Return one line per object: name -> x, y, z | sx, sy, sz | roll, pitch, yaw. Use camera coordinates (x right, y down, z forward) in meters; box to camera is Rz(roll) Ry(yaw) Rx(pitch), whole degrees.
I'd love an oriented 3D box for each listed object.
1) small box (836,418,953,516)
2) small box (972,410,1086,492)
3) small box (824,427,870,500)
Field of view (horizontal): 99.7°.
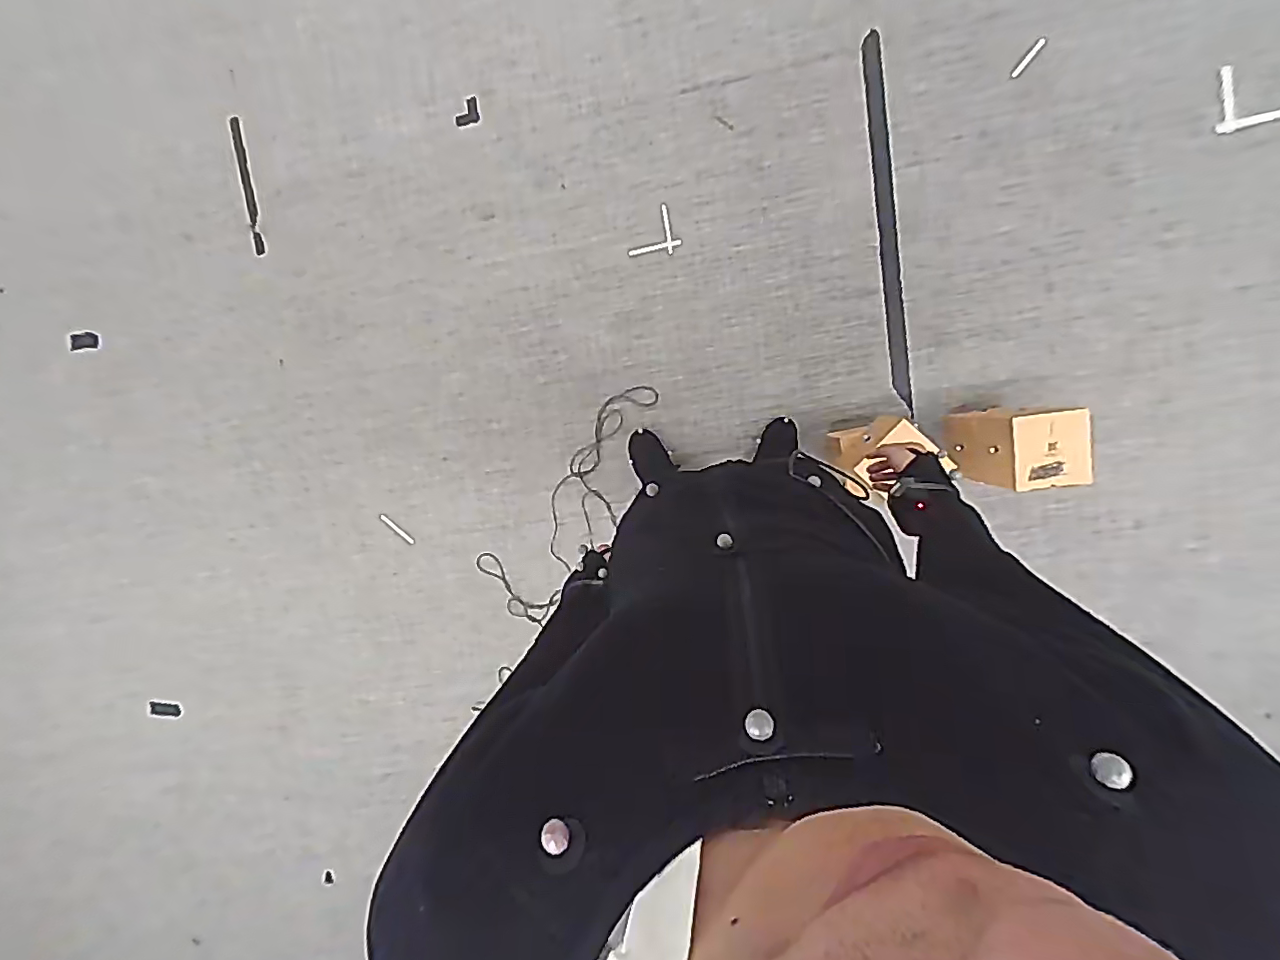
small box -> 0.622, -0.037, 1.347 | 0.179, 0.176, 0.168 | 42, 100, -2
small box -> 0.935, -0.075, 1.311 | 0.168, 0.176, 0.179 | -7, 96, 6
small box -> 0.625, -0.053, 1.511 | 0.168, 0.176, 0.179 | -11, 97, 7
